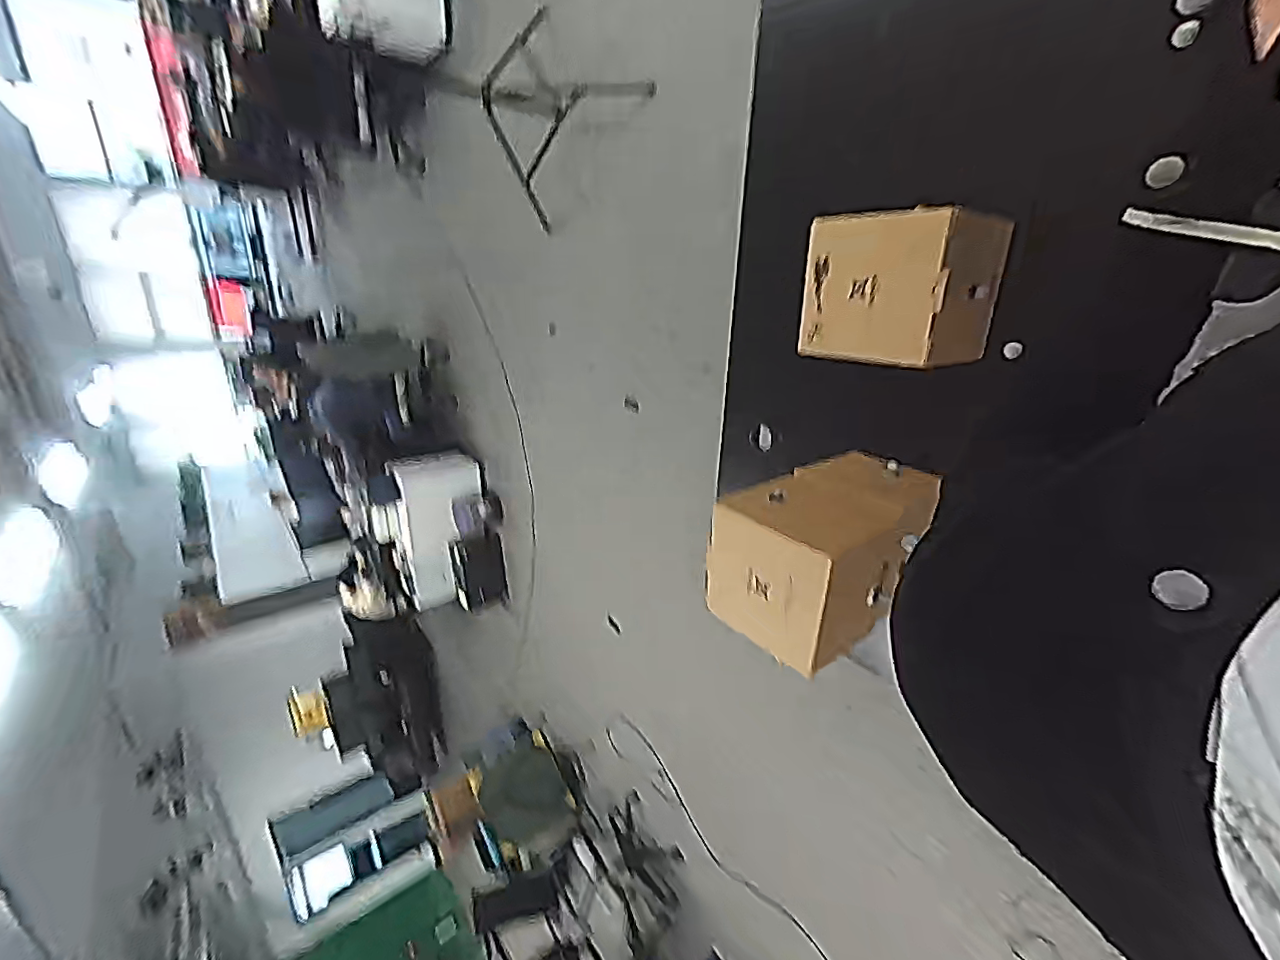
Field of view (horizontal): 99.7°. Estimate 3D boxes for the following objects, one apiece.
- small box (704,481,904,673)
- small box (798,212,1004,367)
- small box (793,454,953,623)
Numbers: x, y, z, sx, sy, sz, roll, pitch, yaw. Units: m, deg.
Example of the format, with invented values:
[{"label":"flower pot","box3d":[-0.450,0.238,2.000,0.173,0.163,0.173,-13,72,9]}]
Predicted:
[{"label":"small box","box3d":[0.208,0.110,0.706,0.179,0.176,0.168,24,122,45]},{"label":"small box","box3d":[0.334,-0.246,0.699,0.179,0.176,0.168,23,120,47]},{"label":"small box","box3d":[0.334,0.075,0.804,0.168,0.176,0.179,26,121,45]}]
